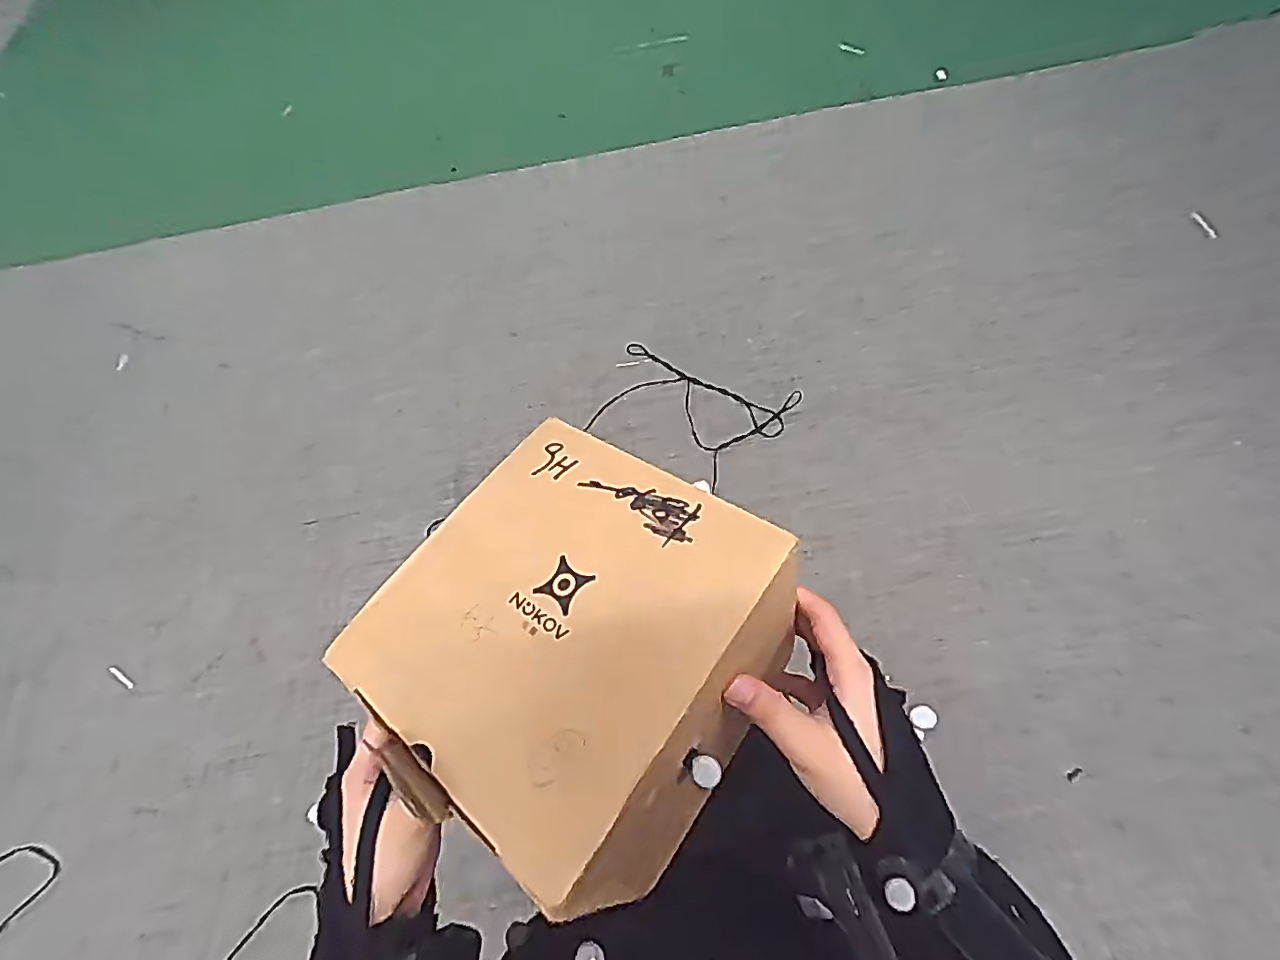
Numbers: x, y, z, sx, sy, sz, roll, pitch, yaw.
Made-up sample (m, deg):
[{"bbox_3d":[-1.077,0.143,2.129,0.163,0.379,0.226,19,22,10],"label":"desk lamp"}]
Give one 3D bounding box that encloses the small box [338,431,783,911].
[{"bbox_3d":[-0.024,0.108,0.327,0.168,0.176,0.179,27,67,29],"label":"small box"}]
